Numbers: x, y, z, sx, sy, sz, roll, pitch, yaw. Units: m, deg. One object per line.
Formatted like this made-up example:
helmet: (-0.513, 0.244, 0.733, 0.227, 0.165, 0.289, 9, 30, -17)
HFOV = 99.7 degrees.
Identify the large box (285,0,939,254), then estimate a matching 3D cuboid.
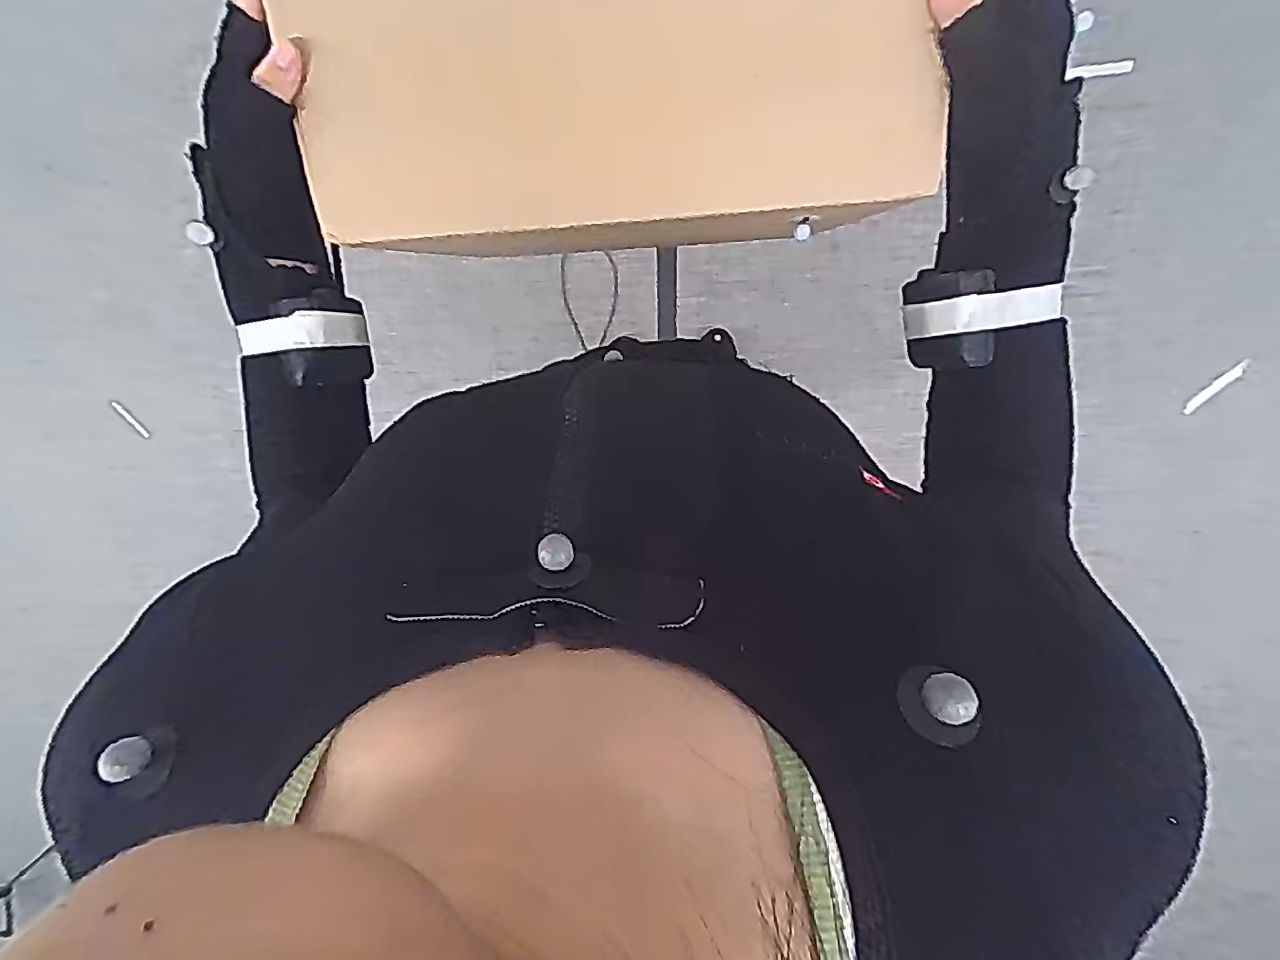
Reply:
large box: (-0.014, -0.373, 0.454, 0.408, 0.320, 0.320, -2, 110, 5)
